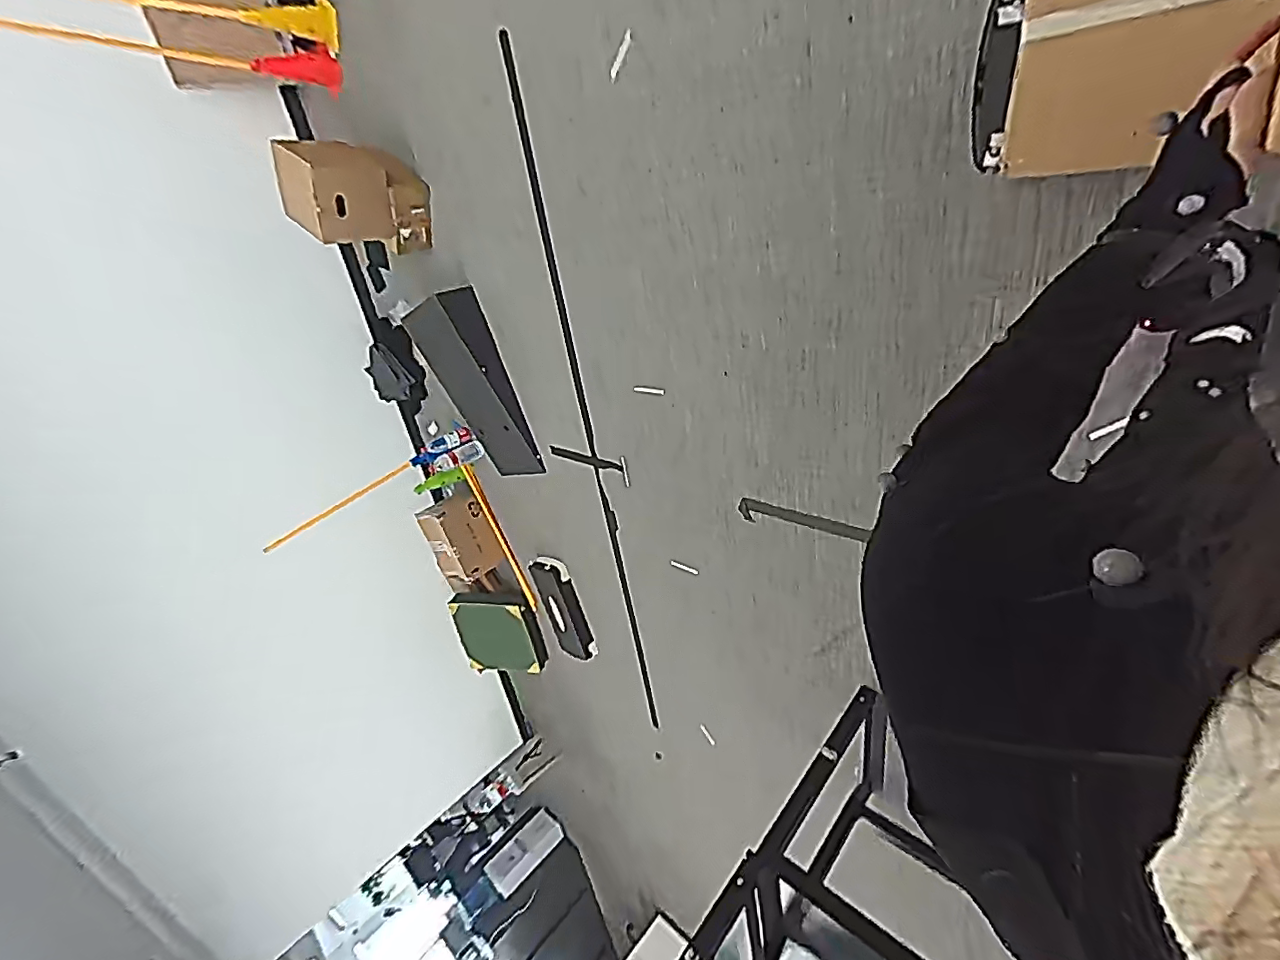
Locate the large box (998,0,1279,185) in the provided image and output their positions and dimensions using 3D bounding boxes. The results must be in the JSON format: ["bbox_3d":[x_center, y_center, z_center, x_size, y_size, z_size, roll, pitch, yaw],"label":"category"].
[{"bbox_3d":[0.700,-0.538,0.604,0.408,0.320,0.320,20,128,41],"label":"large box"}]

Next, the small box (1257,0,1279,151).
[{"bbox_3d":[0.468,-0.292,0.279,0.179,0.176,0.168,10,124,44],"label":"small box"}]

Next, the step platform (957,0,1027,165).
[{"bbox_3d":[0.849,-0.631,0.767,0.684,0.204,0.286,23,130,39],"label":"step platform"}]
